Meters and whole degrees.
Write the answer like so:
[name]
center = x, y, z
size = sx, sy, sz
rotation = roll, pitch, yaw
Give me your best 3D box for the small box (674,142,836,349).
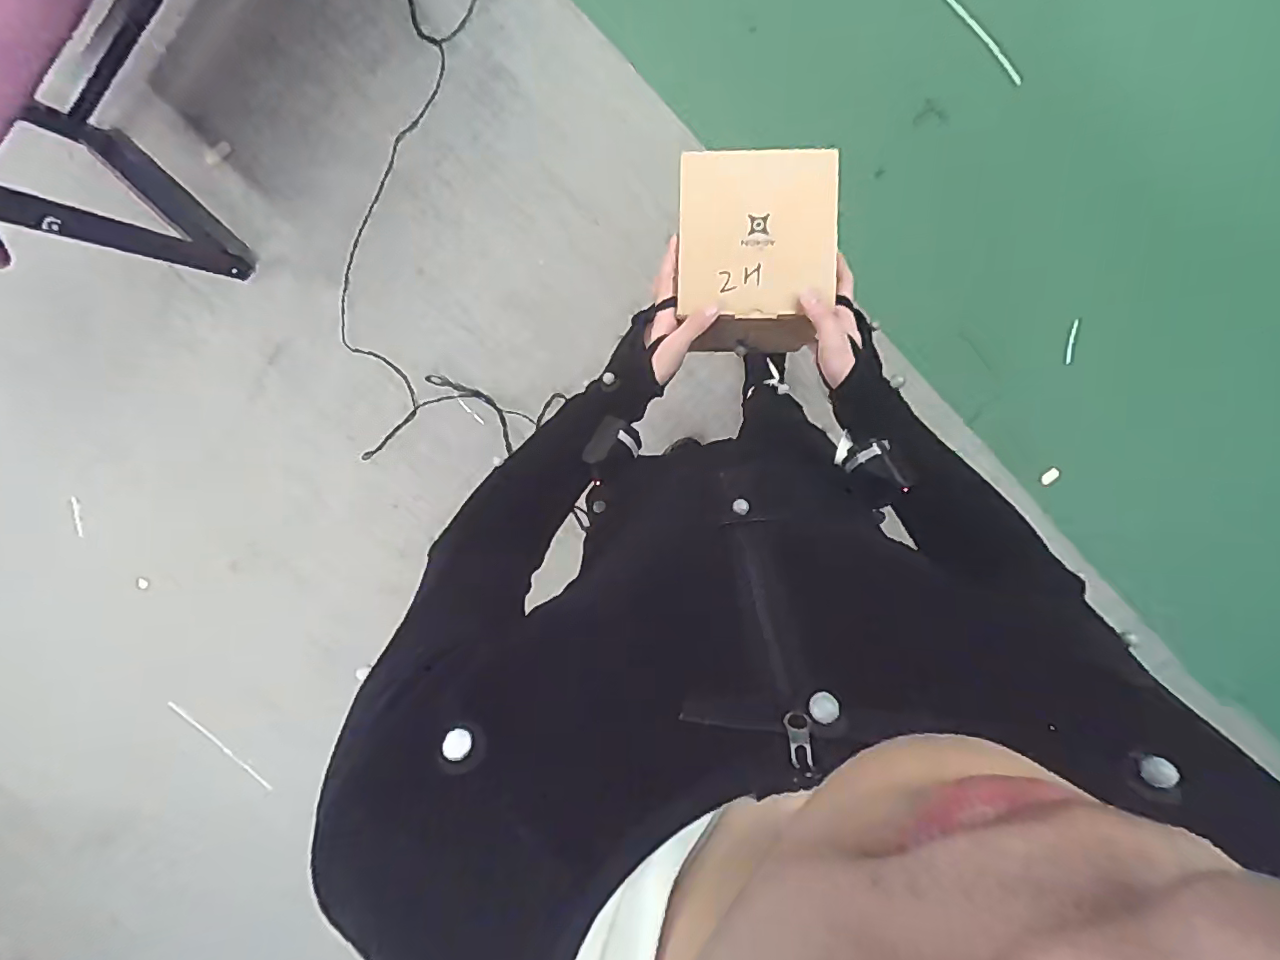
[small box]
center = 0.124, -0.263, 0.641
size = 0.168, 0.176, 0.179
rotation = 1, 91, 4
